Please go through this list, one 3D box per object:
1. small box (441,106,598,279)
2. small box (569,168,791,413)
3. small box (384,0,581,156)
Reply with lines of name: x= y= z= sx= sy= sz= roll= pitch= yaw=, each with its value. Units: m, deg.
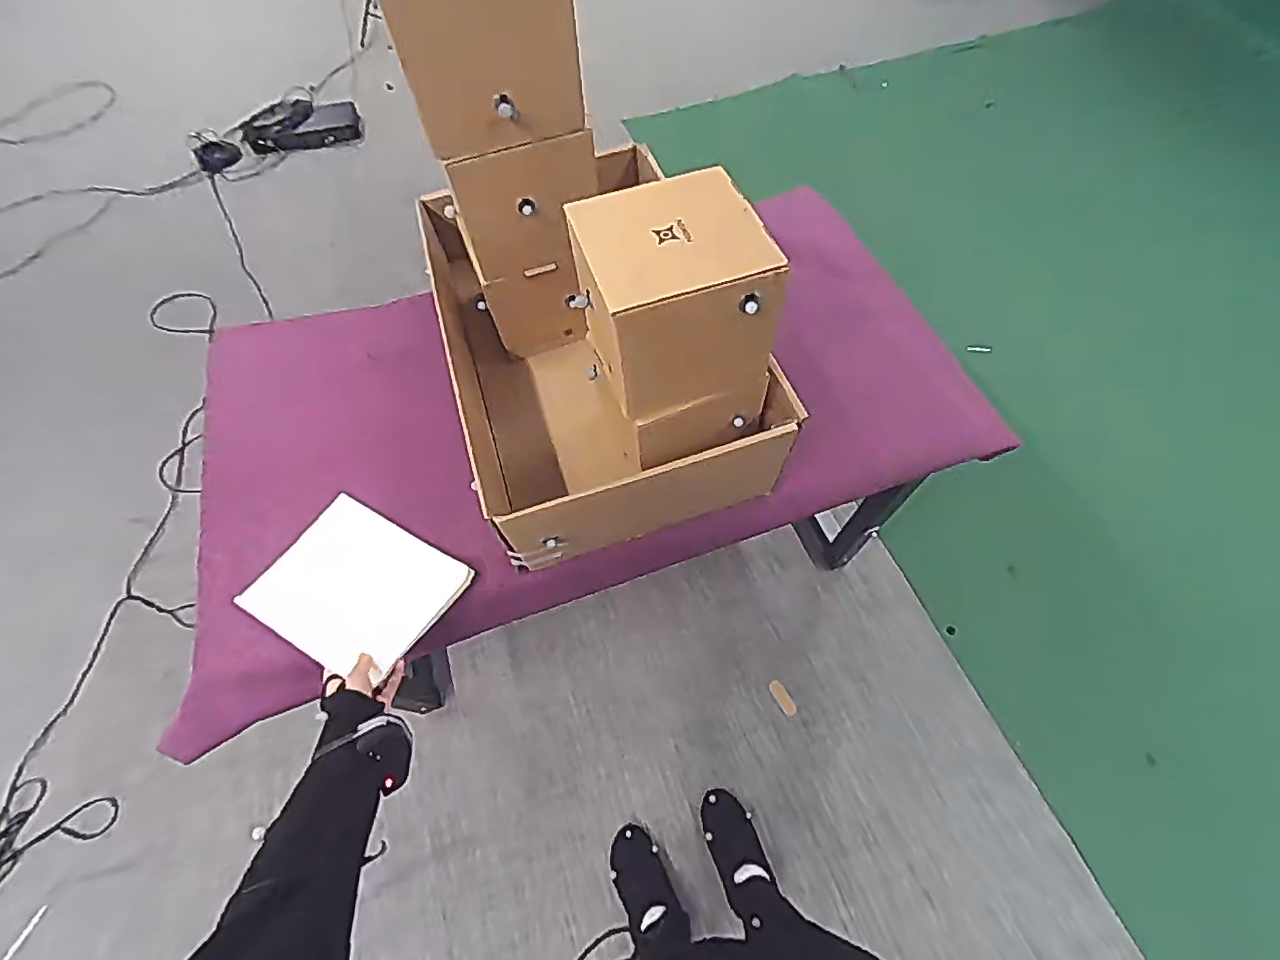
small box: x=-0.158 y=-0.400 z=0.710 sx=0.179 sy=0.176 sz=0.168 roll=-20 pitch=64 yaw=-9
small box: x=0.037 y=-0.198 z=0.590 sx=0.179 sy=0.176 sz=0.168 roll=-17 pitch=61 yaw=-7
small box: x=-0.165 y=-0.477 z=0.565 sx=0.179 sy=0.176 sz=0.168 roll=-18 pitch=63 yaw=-9
